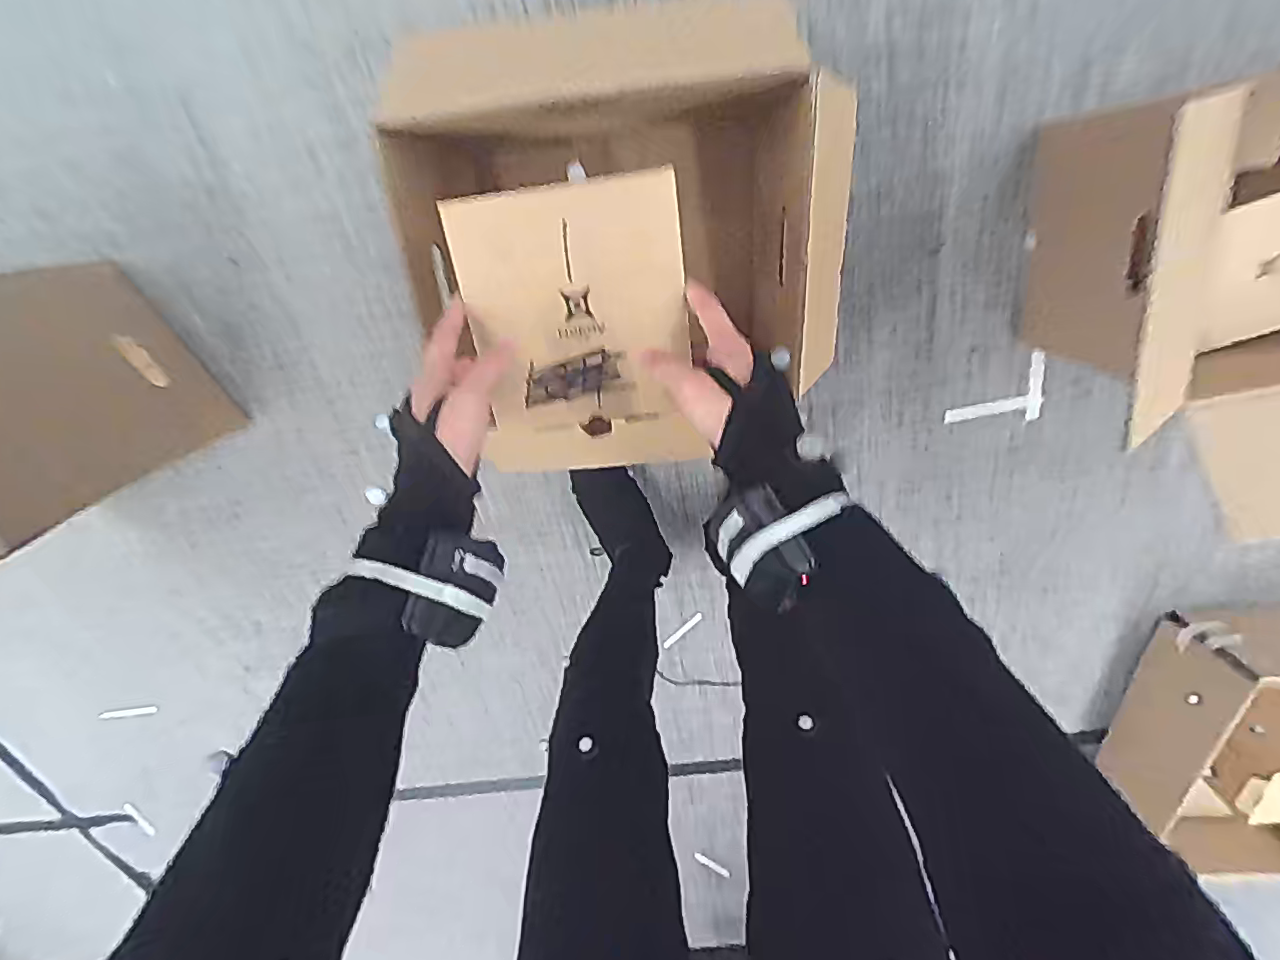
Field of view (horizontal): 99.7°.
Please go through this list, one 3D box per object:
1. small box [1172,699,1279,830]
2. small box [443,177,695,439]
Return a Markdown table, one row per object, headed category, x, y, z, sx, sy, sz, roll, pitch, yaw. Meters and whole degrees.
| category | x | y | z | sx | sy | sz | roll | pitch | yaw |
| --- | --- | --- | --- | --- | --- | --- | --- | --- | --- |
| small box | 1.239 | 0.565 | 1.082 | 0.179 | 0.176 | 0.168 | -7 | 117 | 5 |
| small box | -0.044 | -0.153 | 0.468 | 0.168 | 0.176 | 0.179 | -6 | 117 | 3 |
